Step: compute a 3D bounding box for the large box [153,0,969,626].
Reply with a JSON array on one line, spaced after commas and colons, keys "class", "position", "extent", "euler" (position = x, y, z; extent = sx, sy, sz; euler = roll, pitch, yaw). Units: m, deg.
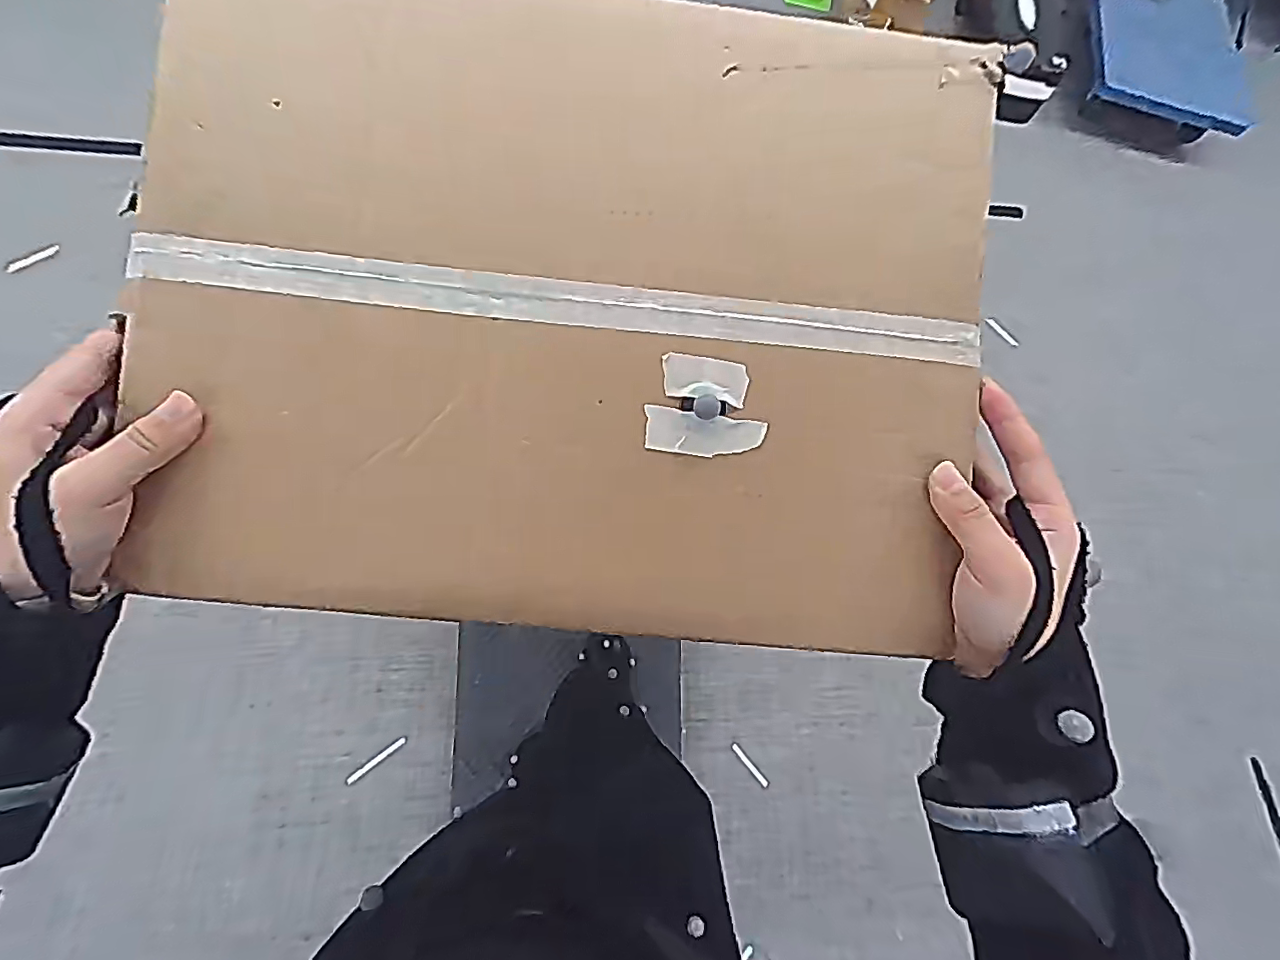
[{"class": "large box", "position": [-0.039, -0.085, 0.427], "extent": [0.408, 0.320, 0.320], "euler": [6, 89, -3]}]
